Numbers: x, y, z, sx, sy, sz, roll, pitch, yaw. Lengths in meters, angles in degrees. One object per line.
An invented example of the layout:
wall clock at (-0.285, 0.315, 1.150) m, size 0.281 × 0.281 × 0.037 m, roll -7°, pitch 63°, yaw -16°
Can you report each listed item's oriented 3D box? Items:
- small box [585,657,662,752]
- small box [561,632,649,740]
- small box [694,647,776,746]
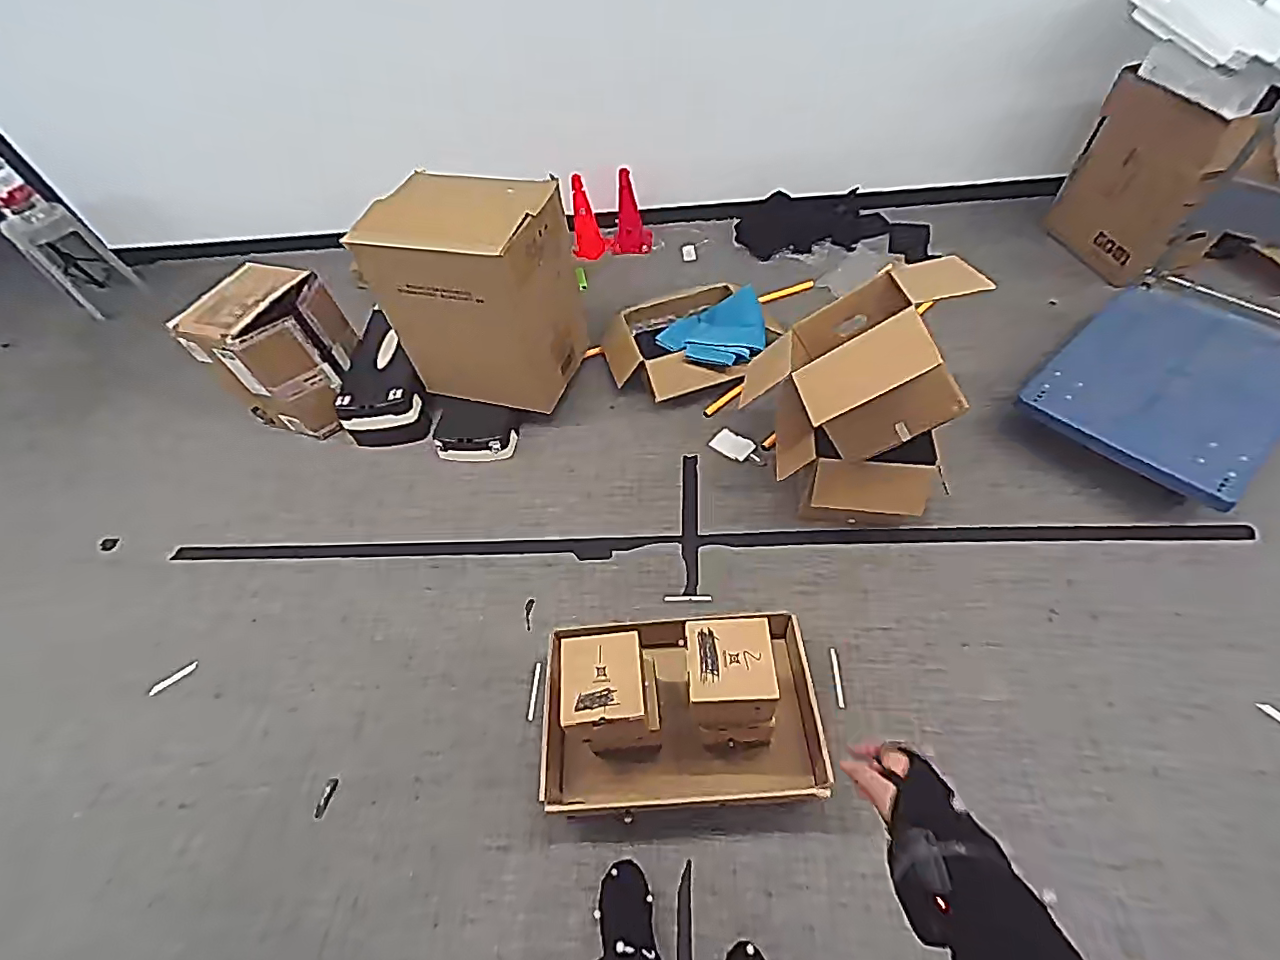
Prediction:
small box at (-0.040, 0.537, 1.289) m, size 0.179 × 0.176 × 0.168 m, roll -6°, pitch 52°, yaw 1°
small box at (-0.072, 0.445, 1.154) m, size 0.168 × 0.176 × 0.179 m, roll -6°, pitch 52°, yaw 0°
small box at (0.218, 0.514, 1.278) m, size 0.168 × 0.176 × 0.179 m, roll -6°, pitch 53°, yaw 4°
